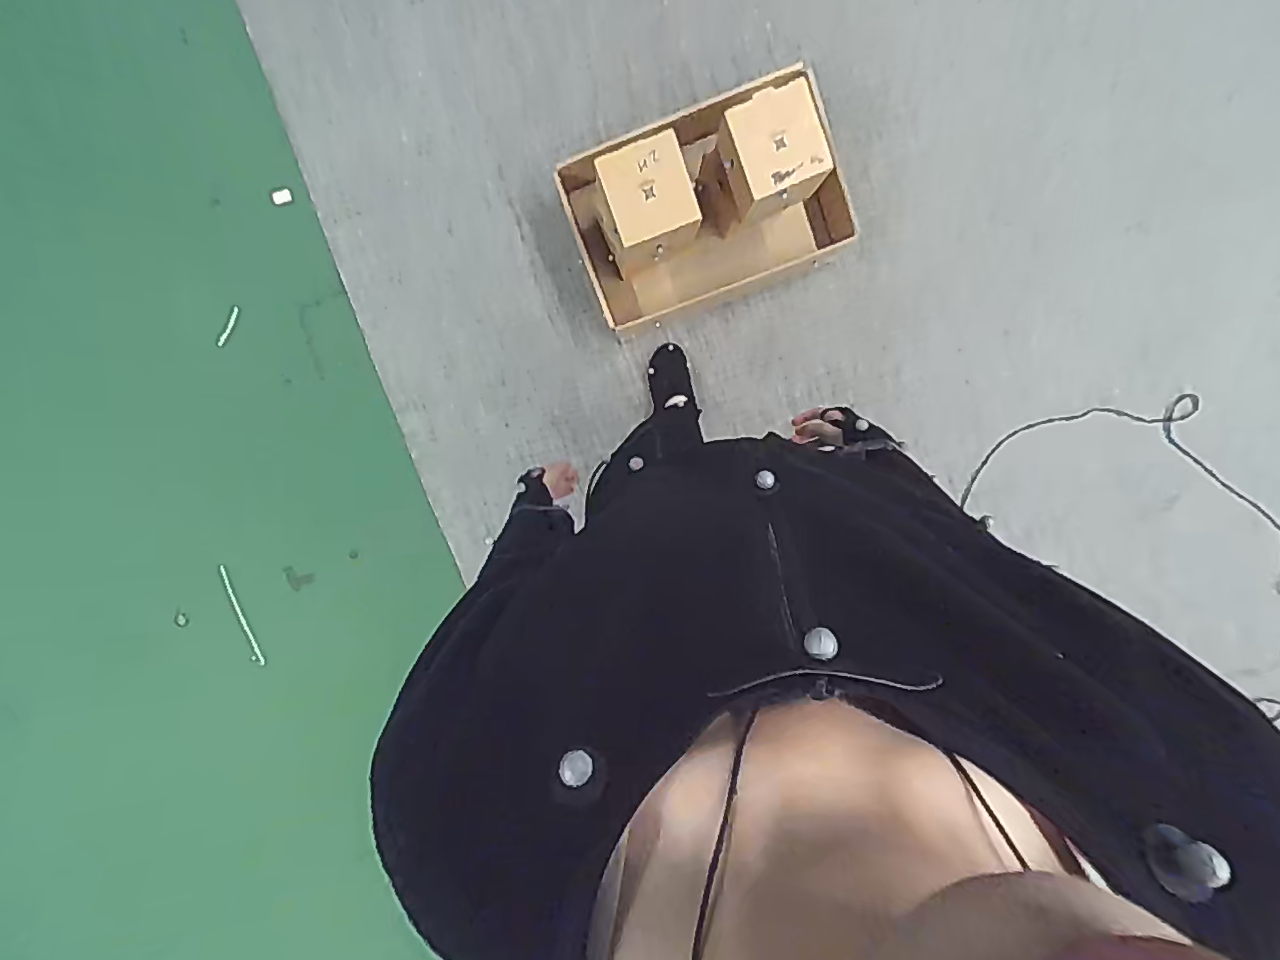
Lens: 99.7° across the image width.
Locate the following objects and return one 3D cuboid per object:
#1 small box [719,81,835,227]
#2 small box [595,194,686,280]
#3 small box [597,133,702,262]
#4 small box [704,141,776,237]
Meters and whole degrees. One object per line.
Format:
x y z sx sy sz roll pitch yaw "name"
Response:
0.272 -0.659 1.115 0.168 0.176 0.179 -21 97 4 "small box"
0.009 -0.601 1.292 0.179 0.176 0.168 -24 98 2 "small box"
0.020 -0.573 1.130 0.168 0.176 0.179 -19 98 2 "small box"
0.259 -0.702 1.273 0.179 0.176 0.168 -25 98 3 "small box"
